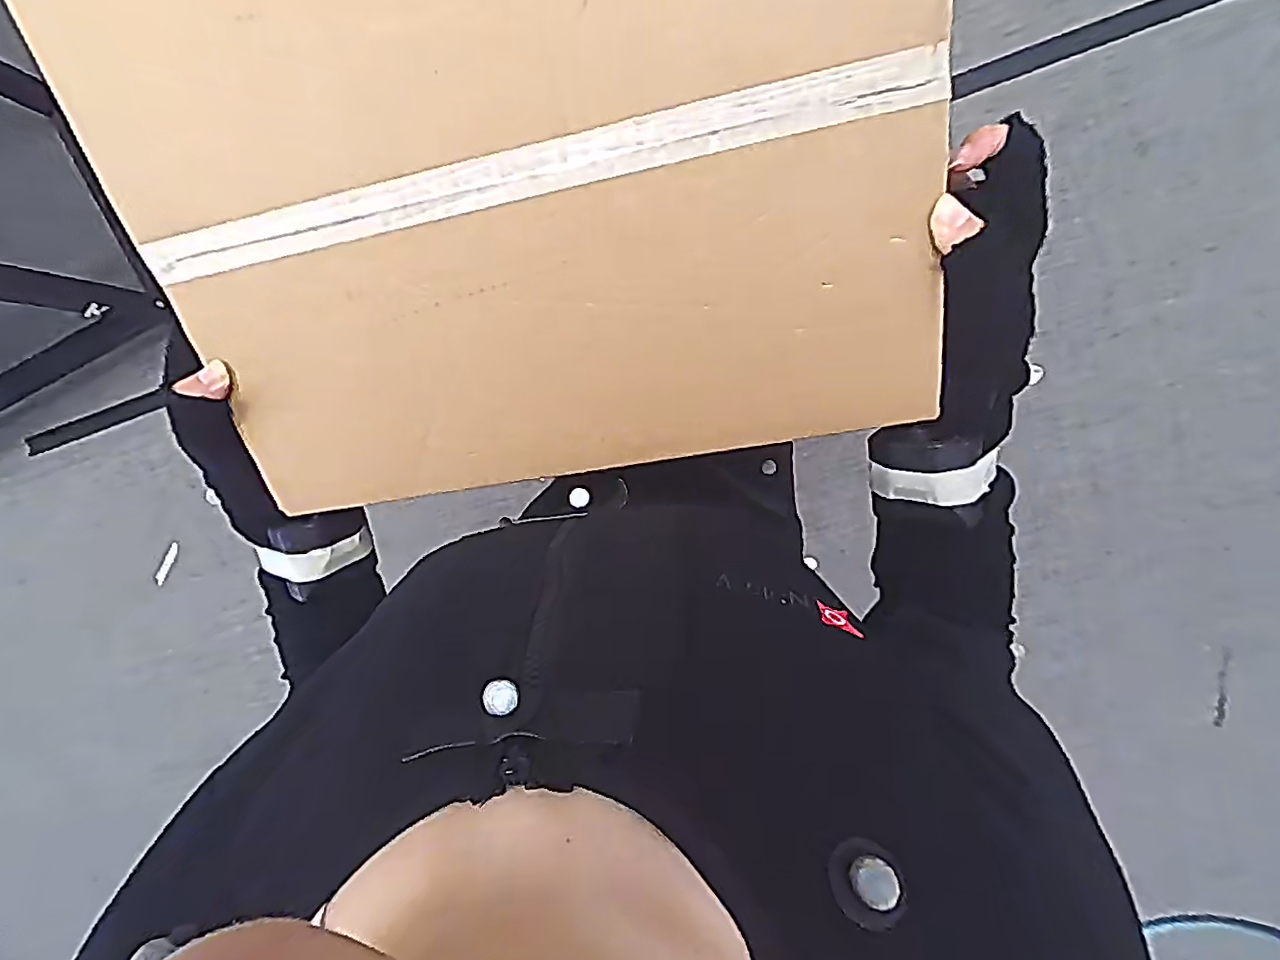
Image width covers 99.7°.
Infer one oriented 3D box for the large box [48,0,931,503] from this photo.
[{"bbox_3d":[-0.054,-0.212,0.407,0.408,0.320,0.320,-9,114,8],"label":"large box"}]
